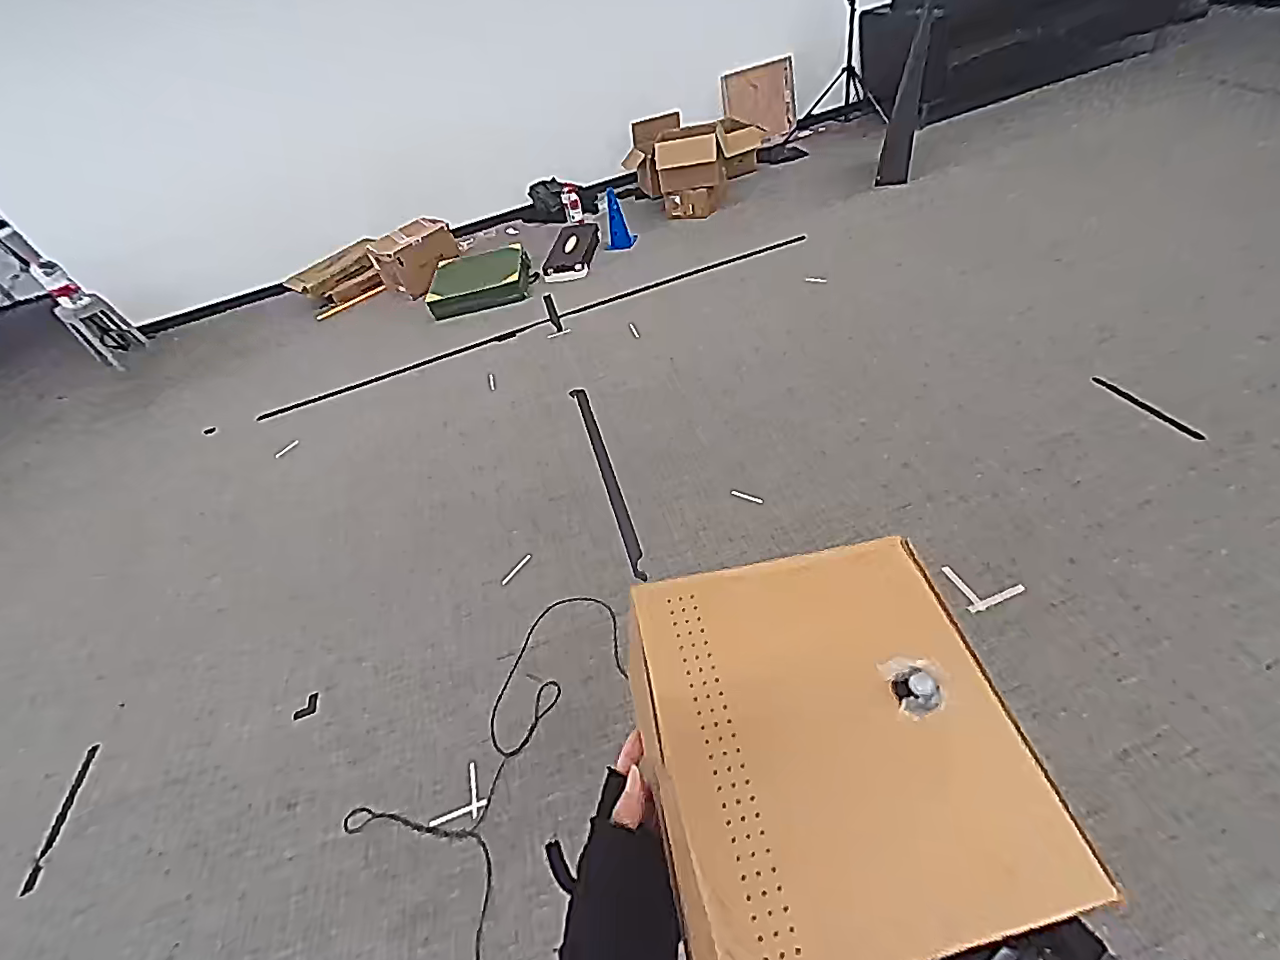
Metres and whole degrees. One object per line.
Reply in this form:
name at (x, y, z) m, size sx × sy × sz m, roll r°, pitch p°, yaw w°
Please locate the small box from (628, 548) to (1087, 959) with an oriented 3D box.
small box at (0.089, 0.168, 0.327) m, size 0.176 × 0.168 × 0.179 m, roll -10°, pitch 52°, yaw -8°
